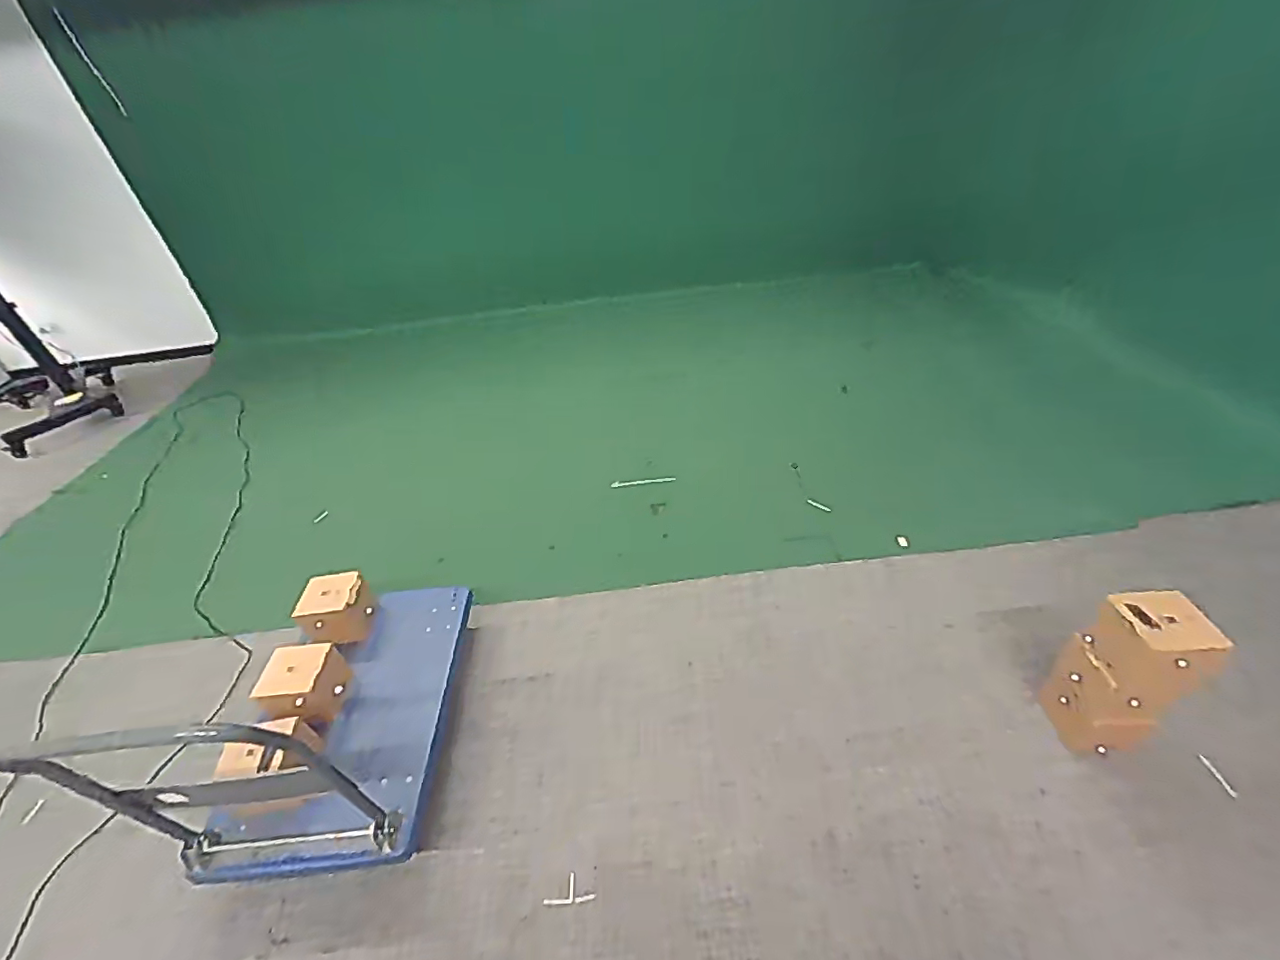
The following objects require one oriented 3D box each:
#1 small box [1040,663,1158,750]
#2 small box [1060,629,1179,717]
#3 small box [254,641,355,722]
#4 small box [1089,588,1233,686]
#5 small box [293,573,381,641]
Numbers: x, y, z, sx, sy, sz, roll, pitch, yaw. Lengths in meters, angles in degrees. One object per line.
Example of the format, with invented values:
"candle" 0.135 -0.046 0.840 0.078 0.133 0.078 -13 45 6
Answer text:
"small box" 1.284 0.640 1.533 0.168 0.176 0.179 -4 39 5
"small box" 1.263 0.510 1.436 0.179 0.176 0.168 -5 39 5
"small box" -1.011 0.617 1.645 0.179 0.176 0.168 -5 39 0
"small box" 1.253 0.388 1.325 0.179 0.176 0.168 -5 39 4
"small box" -1.031 0.439 1.856 0.179 0.176 0.168 -2 42 4
